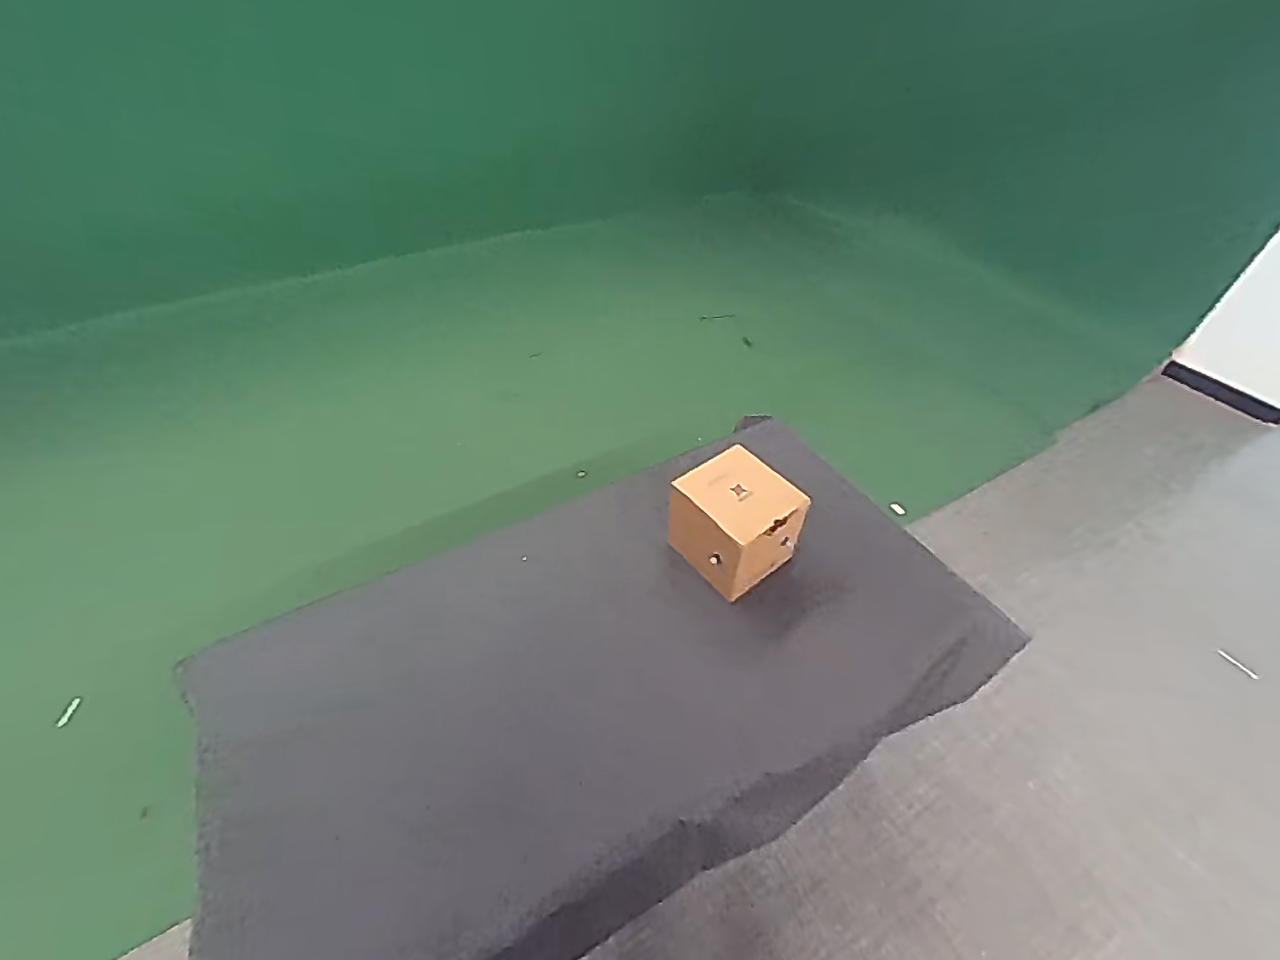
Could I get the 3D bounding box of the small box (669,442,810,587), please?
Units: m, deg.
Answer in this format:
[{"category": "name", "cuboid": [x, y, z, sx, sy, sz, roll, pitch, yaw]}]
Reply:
[{"category": "small box", "cuboid": [0.170, 0.069, 0.978, 0.168, 0.176, 0.179, -28, 53, -27]}]
